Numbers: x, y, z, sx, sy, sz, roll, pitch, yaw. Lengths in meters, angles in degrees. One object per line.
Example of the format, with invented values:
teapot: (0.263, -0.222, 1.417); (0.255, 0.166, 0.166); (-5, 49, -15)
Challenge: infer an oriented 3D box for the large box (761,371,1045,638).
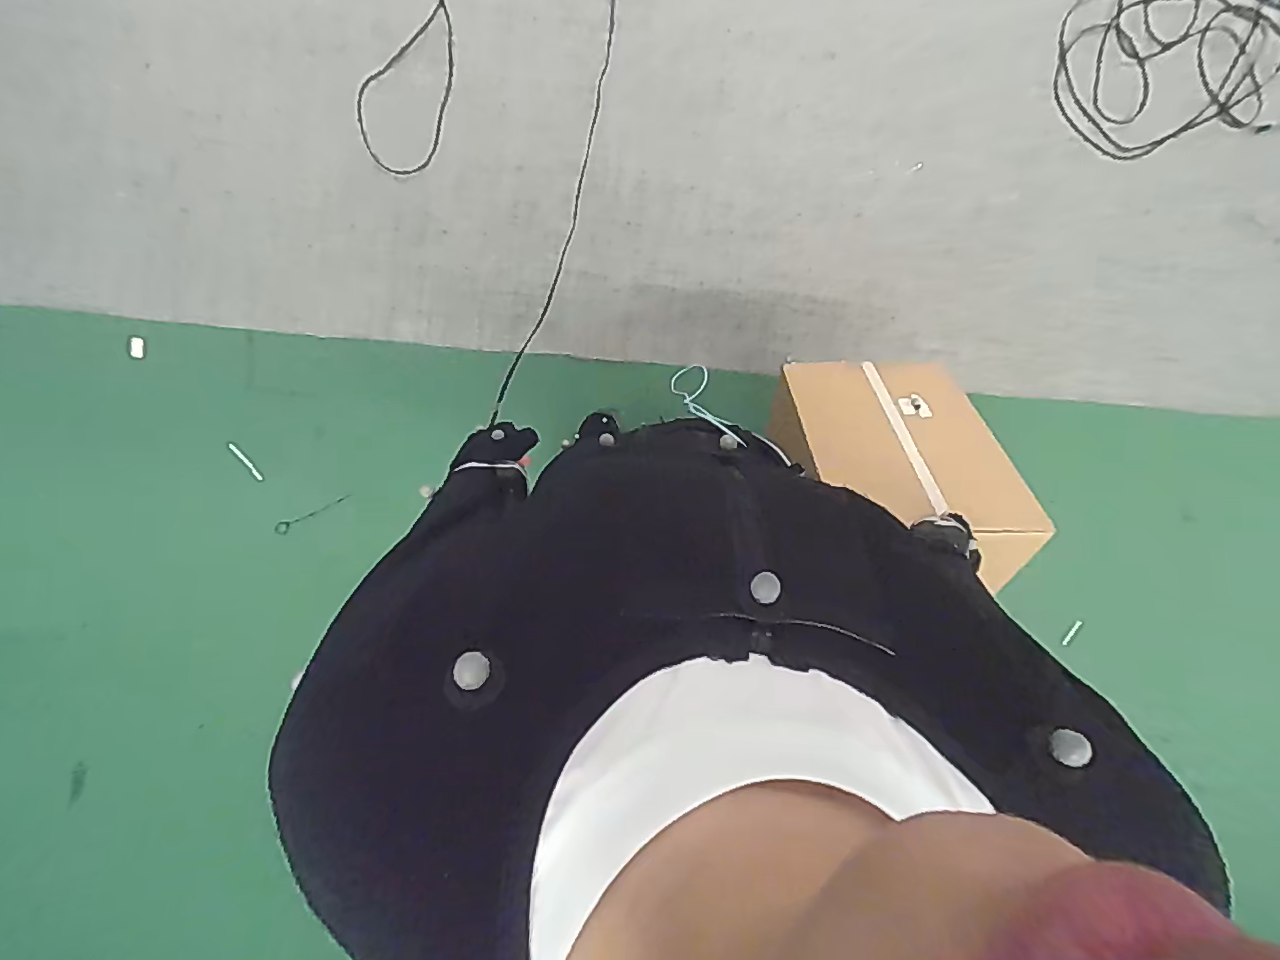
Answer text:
large box: (0.431, 0.041, 1.017); (0.320, 0.408, 0.320); (0, 137, -1)
